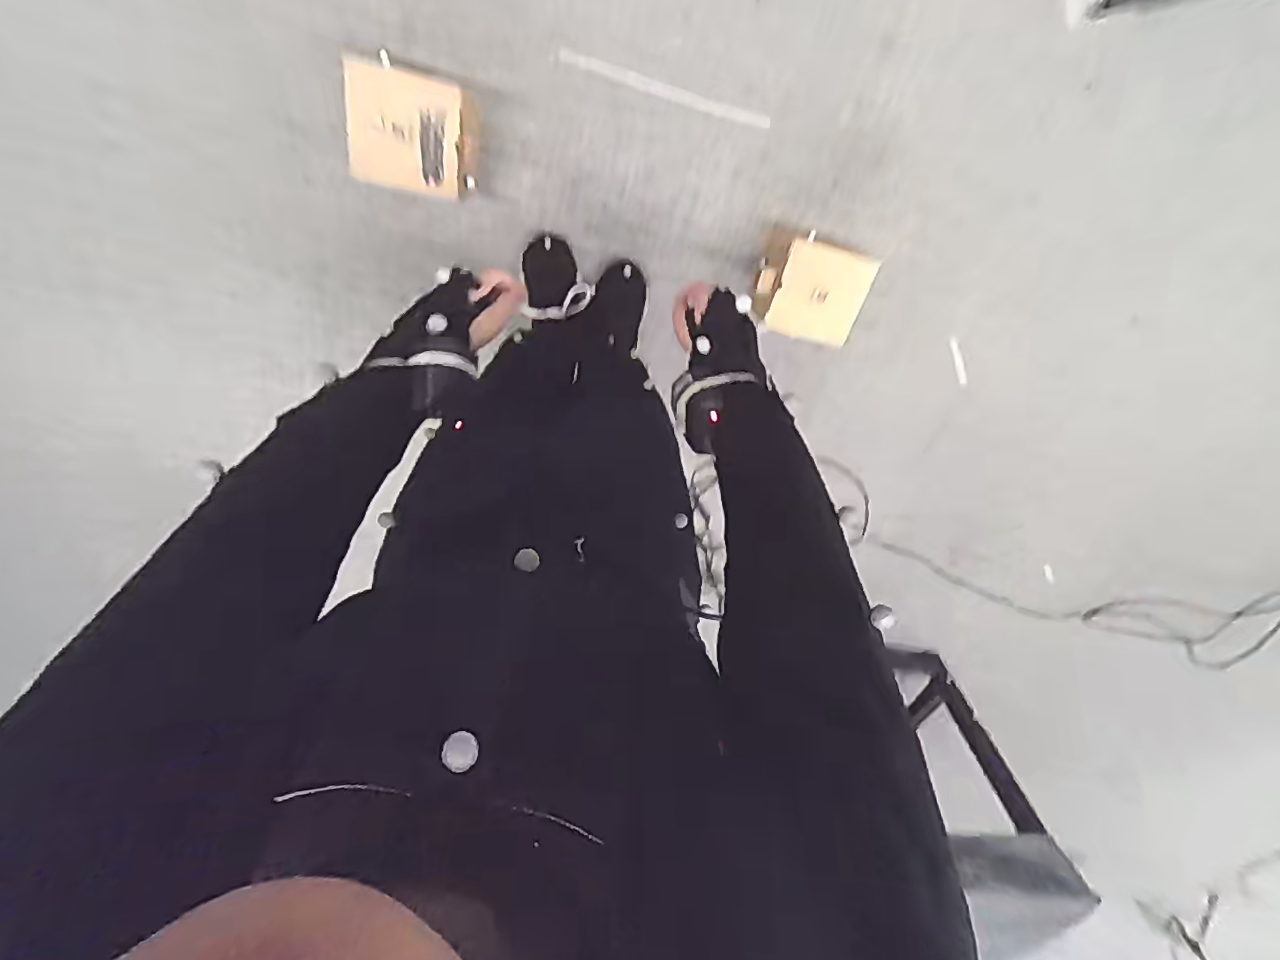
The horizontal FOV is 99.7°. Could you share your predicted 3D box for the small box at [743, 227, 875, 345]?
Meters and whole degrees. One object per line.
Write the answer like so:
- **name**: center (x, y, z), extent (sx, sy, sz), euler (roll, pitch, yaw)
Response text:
- **small box**: center (0.328, -0.396, 1.090), extent (0.179, 0.176, 0.168), euler (10, 123, -9)
